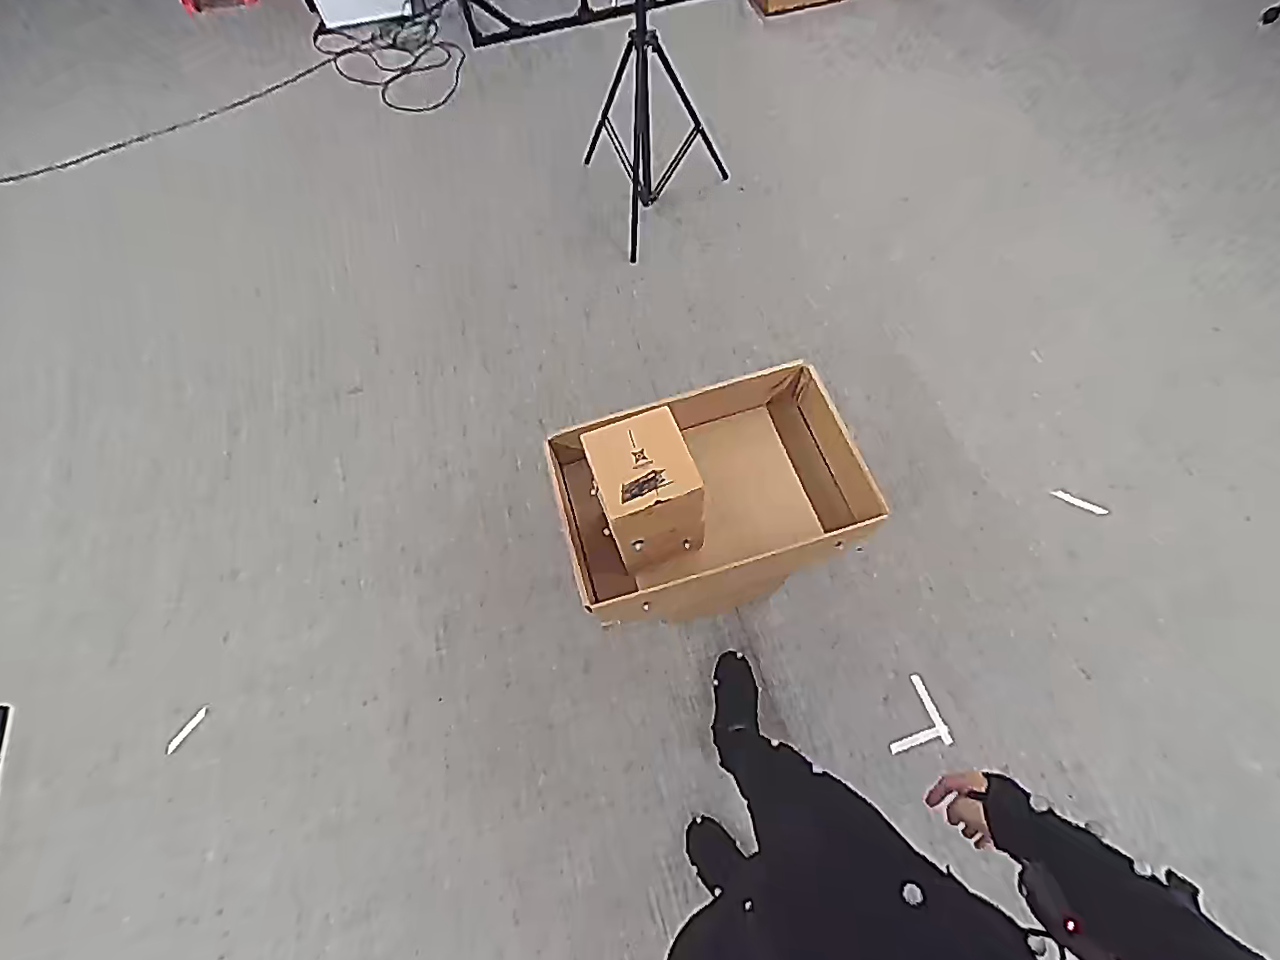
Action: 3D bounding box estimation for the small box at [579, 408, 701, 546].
[{"bbox_3d":[0.004,0.005,0.978,0.168,0.176,0.179,-20,64,-5],"label":"small box"}]

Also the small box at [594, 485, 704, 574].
[{"bbox_3d":[0.019,0.076,1.124,0.179,0.176,0.168,-21,65,-5],"label":"small box"}]
